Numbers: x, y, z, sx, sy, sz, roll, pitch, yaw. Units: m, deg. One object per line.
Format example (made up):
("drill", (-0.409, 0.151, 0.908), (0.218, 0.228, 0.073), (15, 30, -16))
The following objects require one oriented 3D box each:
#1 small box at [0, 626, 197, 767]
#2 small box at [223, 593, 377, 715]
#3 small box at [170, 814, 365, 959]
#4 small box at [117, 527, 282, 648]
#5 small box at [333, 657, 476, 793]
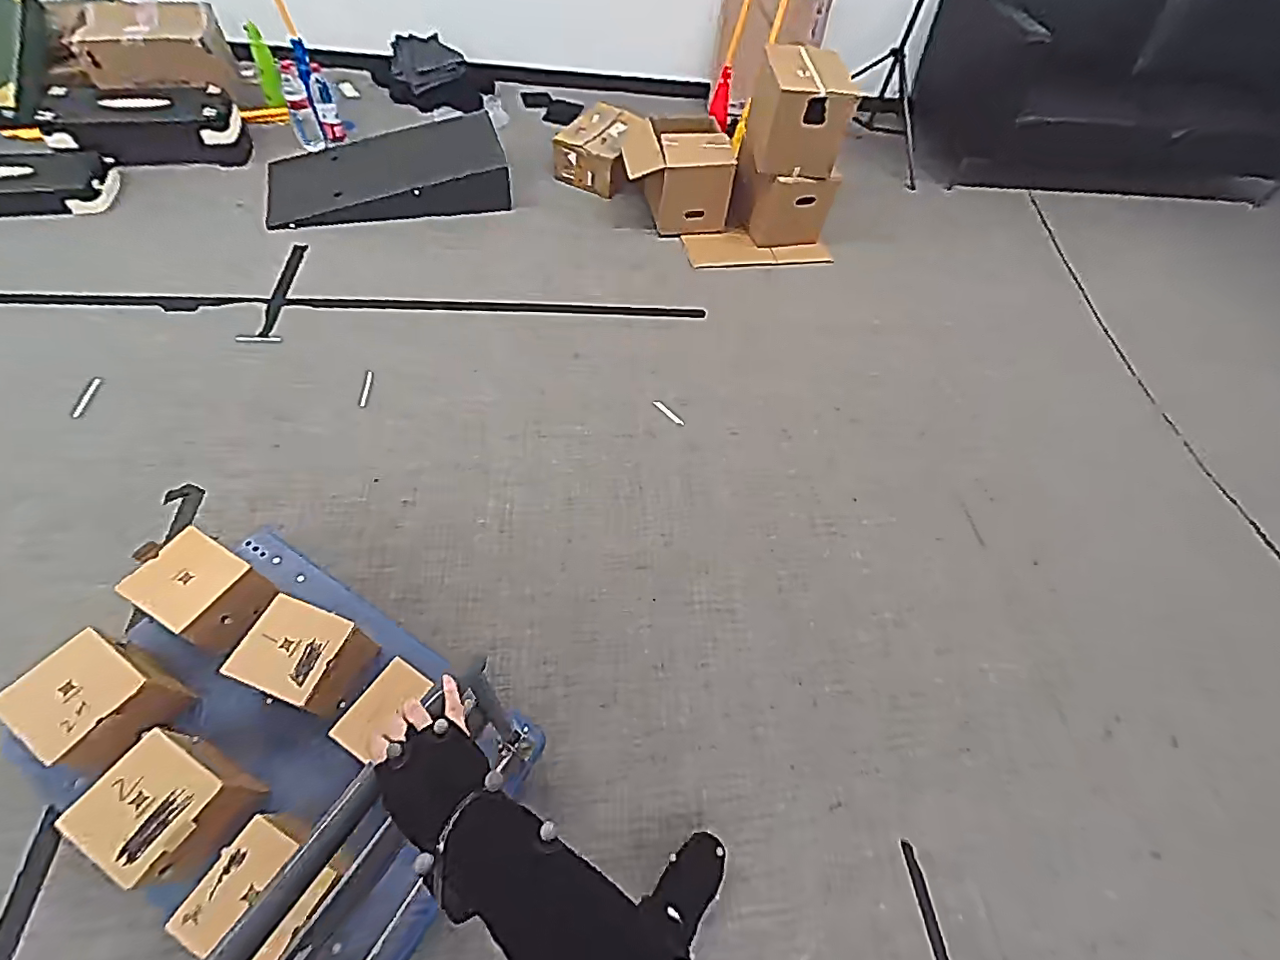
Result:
("small box", (-0.996, 0.409, 1.007), (0.179, 0.176, 0.168), (32, 59, 11))
("small box", (-0.668, 0.358, 1.091), (0.179, 0.176, 0.168), (20, 57, 5))
("small box", (-0.594, 0.683, 0.893), (0.179, 0.176, 0.168), (28, 57, 9))
("small box", (-0.906, 0.233, 1.135), (0.179, 0.176, 0.168), (28, 58, 9))
("small box", (-0.443, 0.479, 1.050), (0.179, 0.176, 0.168), (31, 58, 12))
